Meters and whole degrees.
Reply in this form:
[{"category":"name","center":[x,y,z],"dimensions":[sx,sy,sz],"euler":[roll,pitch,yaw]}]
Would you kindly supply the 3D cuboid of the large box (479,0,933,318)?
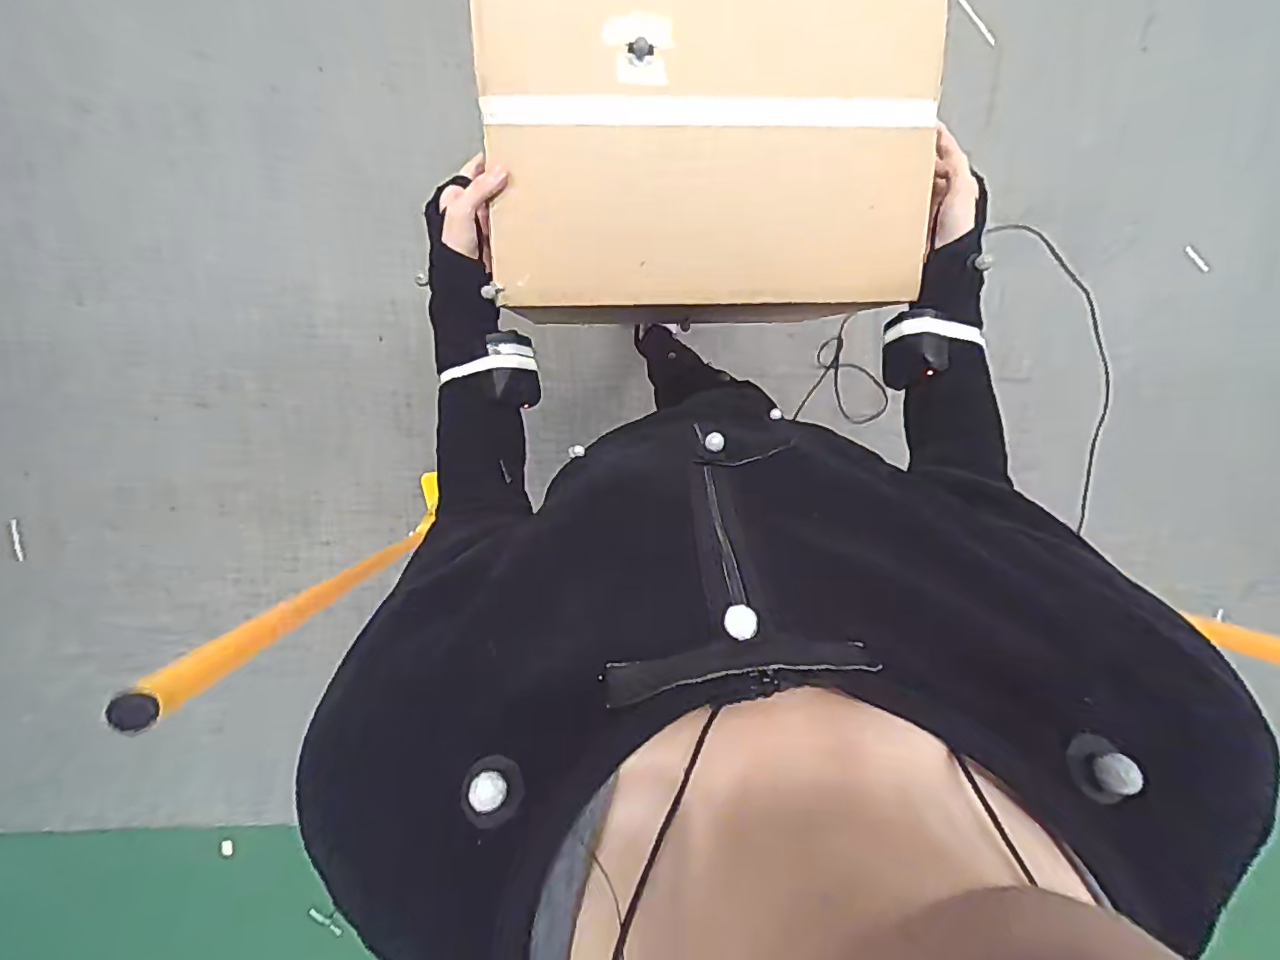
[{"category":"large box","center":[0.056,-0.362,0.632],"dimensions":[0.408,0.320,0.320],"euler":[-2,102,-3]}]
